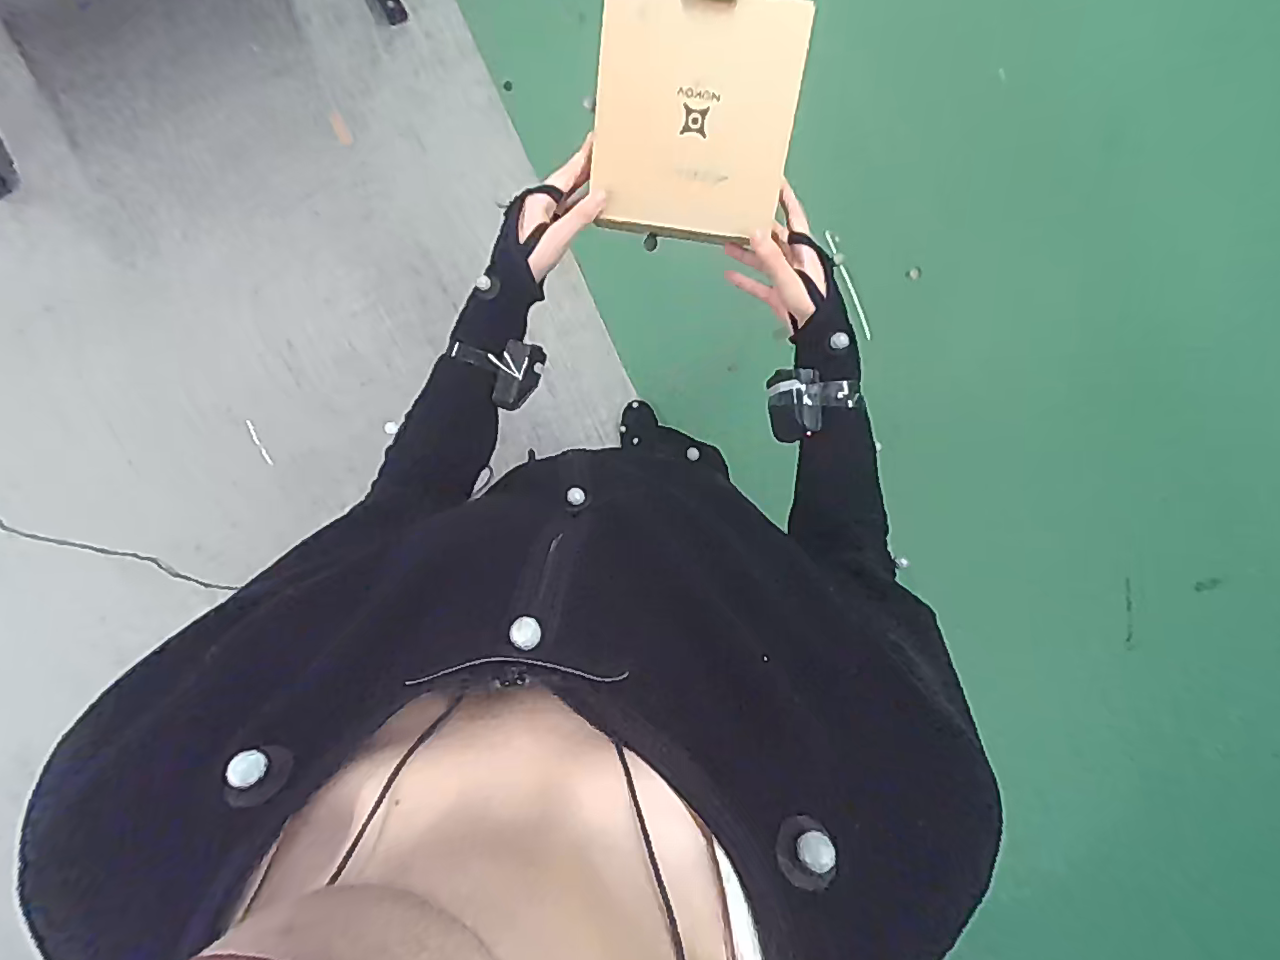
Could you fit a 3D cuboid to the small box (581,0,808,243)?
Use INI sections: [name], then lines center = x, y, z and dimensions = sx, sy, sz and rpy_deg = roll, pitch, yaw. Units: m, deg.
[small box]
center = 0.037, -0.331, 0.511
dimensions = 0.168, 0.176, 0.179
rpy_deg = 5, 112, -4
